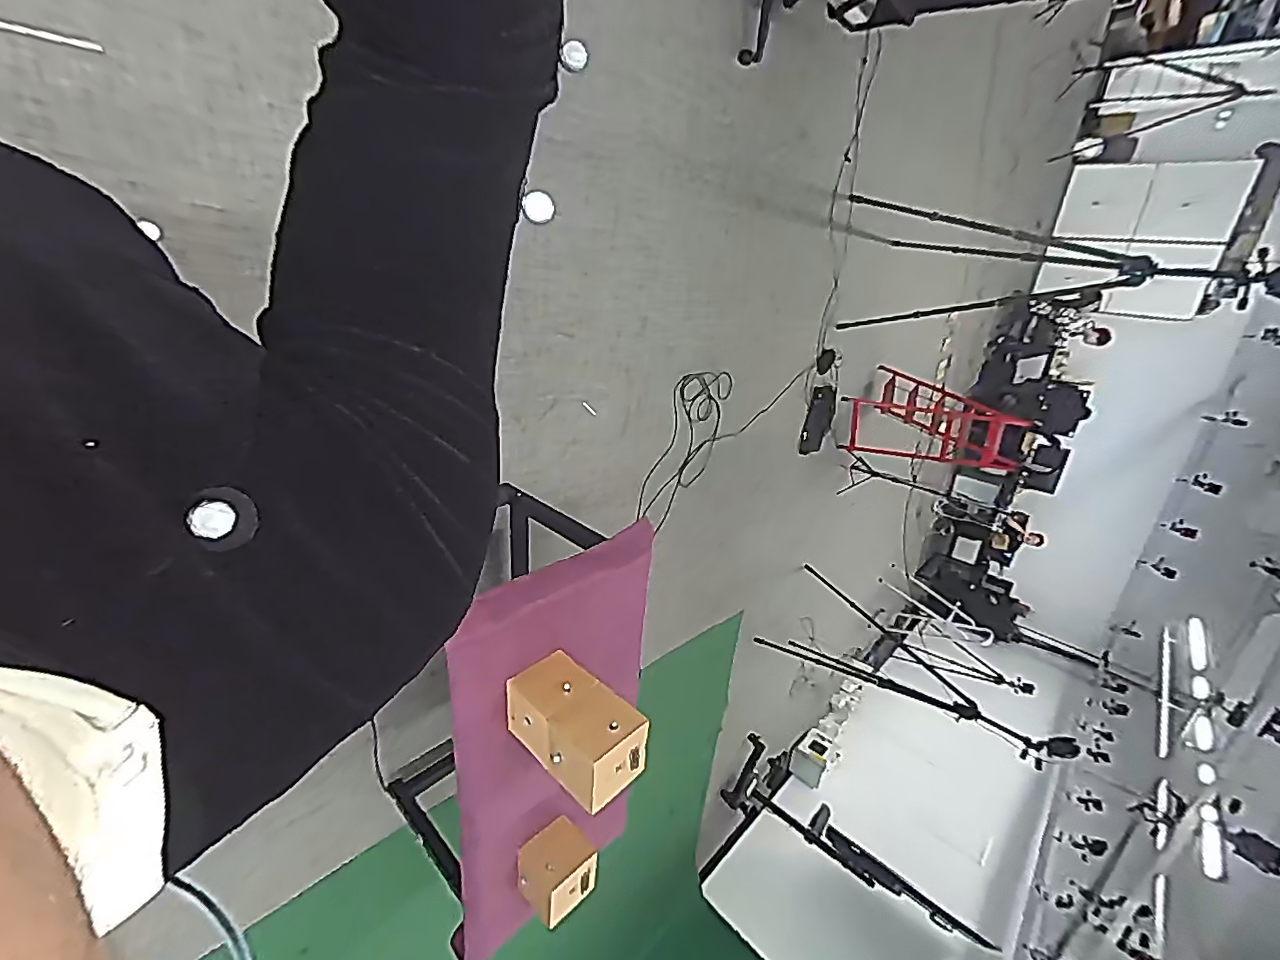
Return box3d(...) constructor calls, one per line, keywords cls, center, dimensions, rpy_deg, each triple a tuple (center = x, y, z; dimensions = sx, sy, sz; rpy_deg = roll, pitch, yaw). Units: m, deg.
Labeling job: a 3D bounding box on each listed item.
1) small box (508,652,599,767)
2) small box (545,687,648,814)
box3d(cls="small box", center=(-0.225, 0.579, 1.384), dimensions=(0.179, 0.176, 0.168), rpy_deg=(-20, 122, -44))
box3d(cls="small box", center=(-0.104, 0.629, 1.285), dimensions=(0.179, 0.176, 0.168), rpy_deg=(-19, 121, -43))
